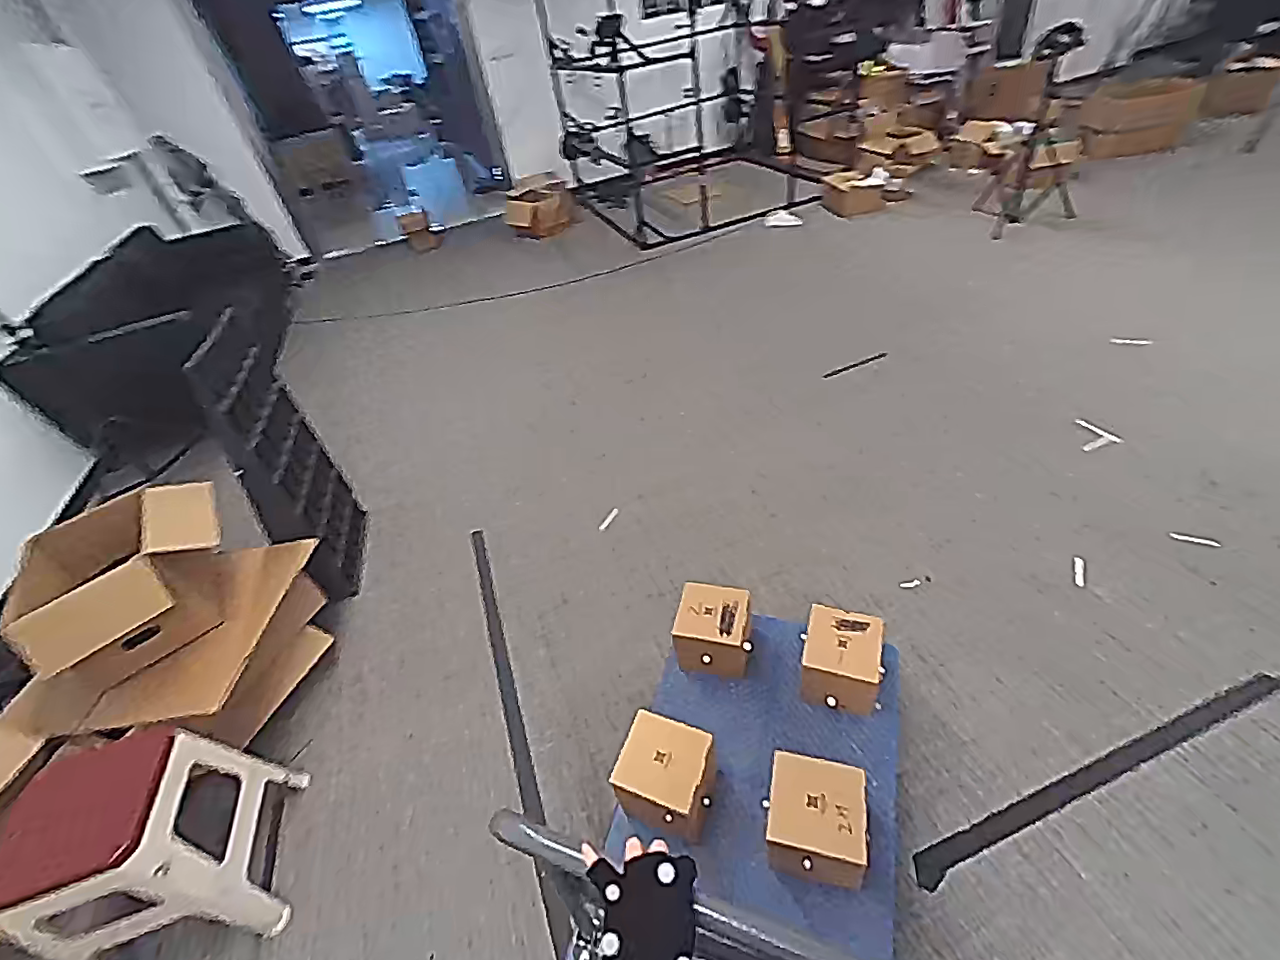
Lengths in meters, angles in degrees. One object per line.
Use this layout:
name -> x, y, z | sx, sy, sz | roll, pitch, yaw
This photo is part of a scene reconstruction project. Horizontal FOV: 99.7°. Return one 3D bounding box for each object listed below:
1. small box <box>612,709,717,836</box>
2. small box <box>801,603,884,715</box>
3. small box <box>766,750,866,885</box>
small box -> 0.060, 0.640, 1.180 | 0.179, 0.176, 0.168 | 10, 44, 22
small box -> 0.488, 0.434, 1.315 | 0.168, 0.176, 0.179 | 8, 45, 22
small box -> 0.349, 0.670, 1.074 | 0.179, 0.176, 0.168 | 4, 43, 18
